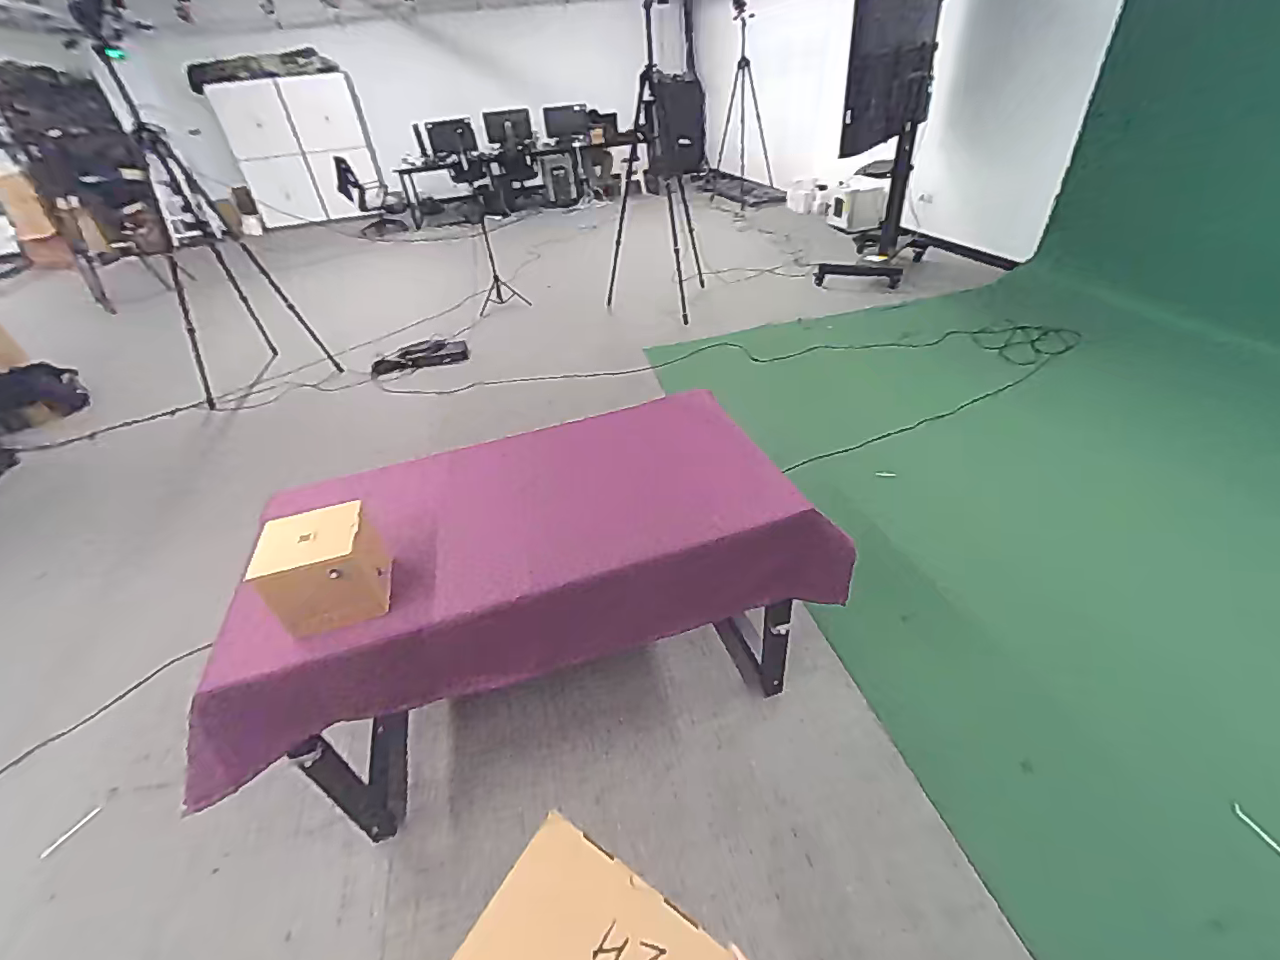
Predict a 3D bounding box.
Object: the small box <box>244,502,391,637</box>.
[{"bbox_3d":[-0.600,0.172,1.031,0.179,0.176,0.168,-14,37,-12],"label":"small box"}]
